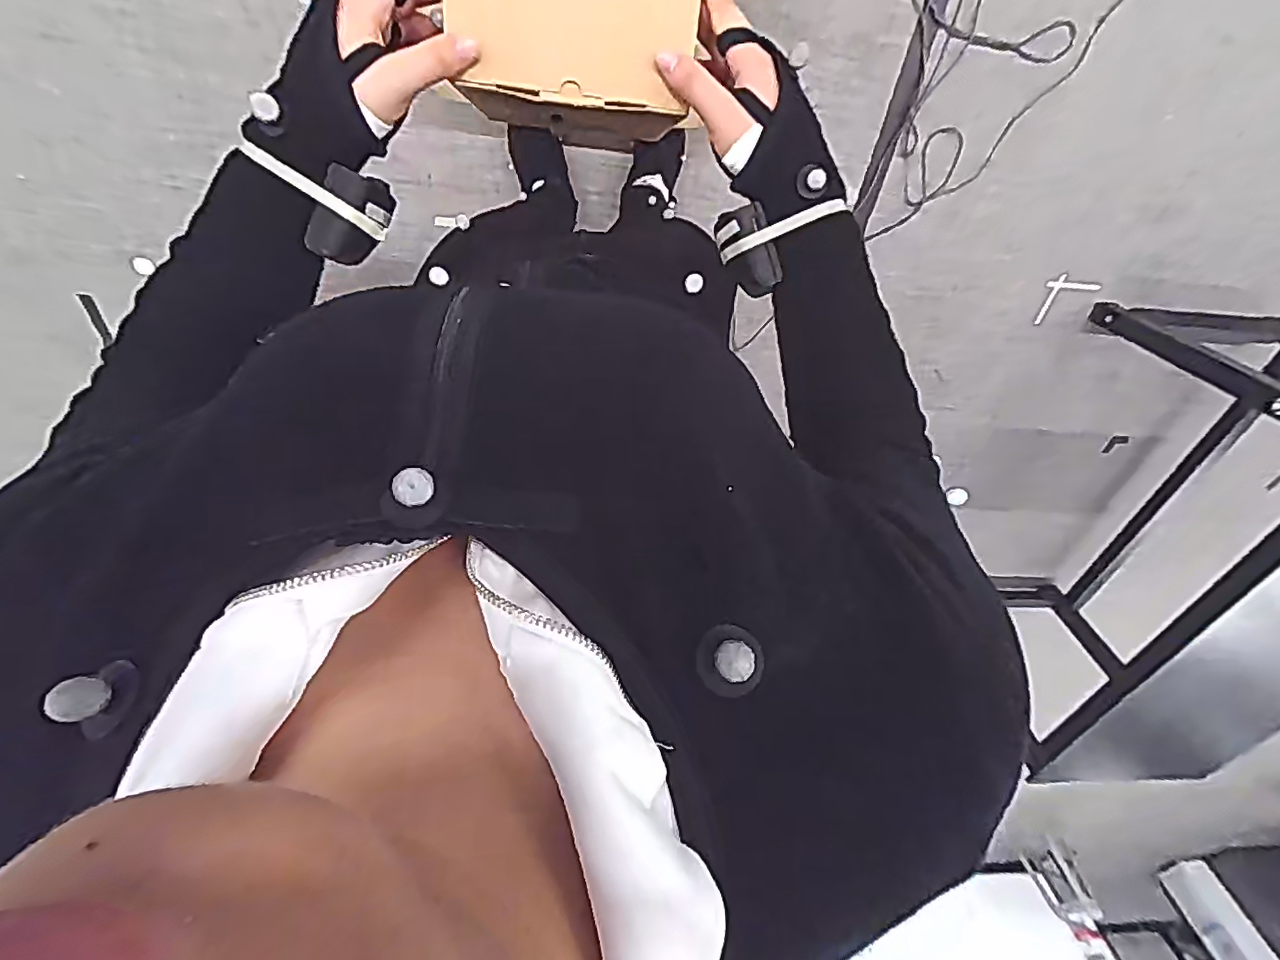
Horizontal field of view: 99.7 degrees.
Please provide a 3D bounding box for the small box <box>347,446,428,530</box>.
[{"bbox_3d":[-0.718,0.023,1.558,0.168,0.176,0.179,3,125,-10],"label":"small box"}]
